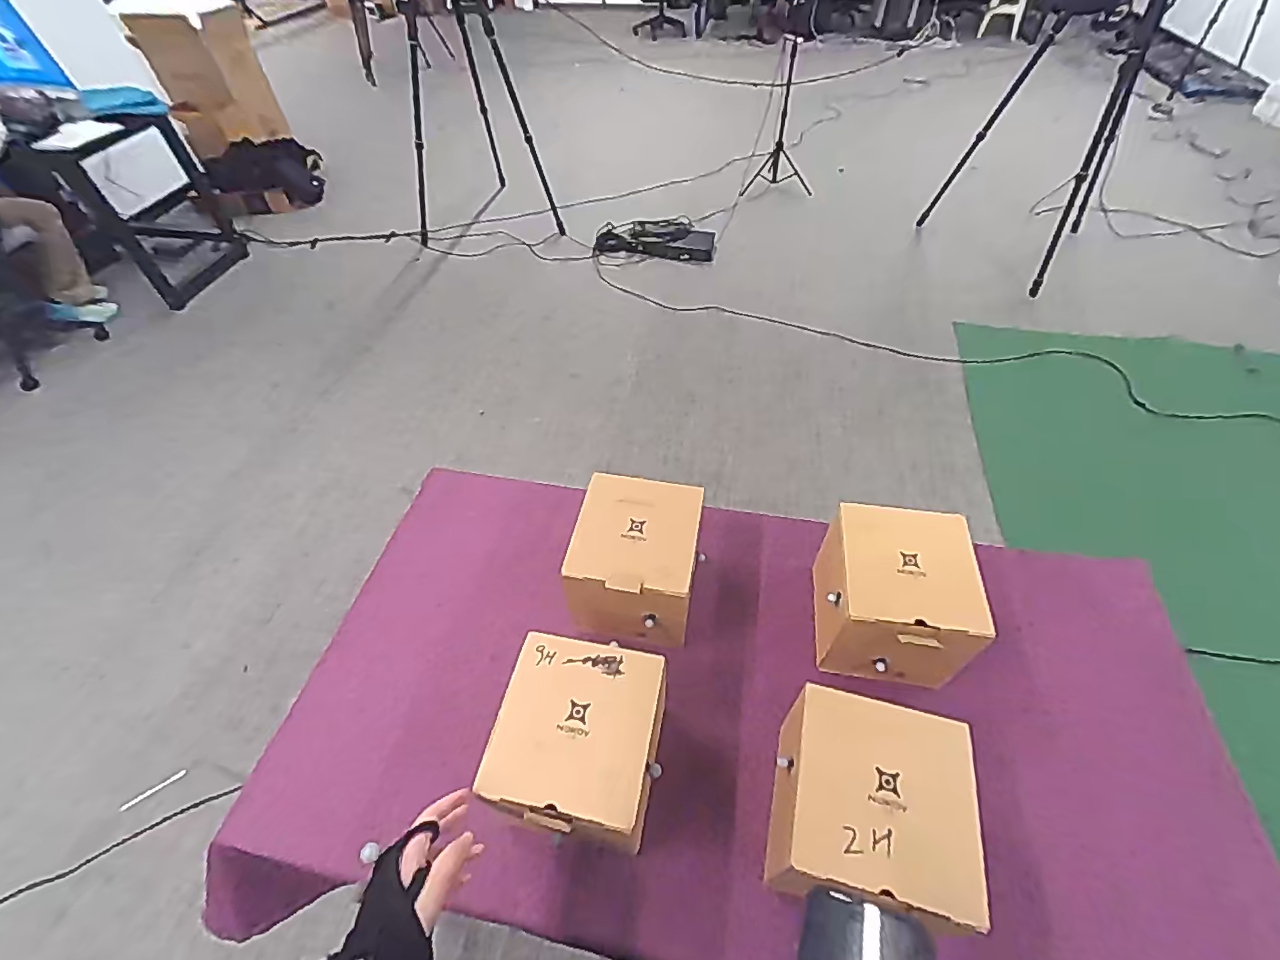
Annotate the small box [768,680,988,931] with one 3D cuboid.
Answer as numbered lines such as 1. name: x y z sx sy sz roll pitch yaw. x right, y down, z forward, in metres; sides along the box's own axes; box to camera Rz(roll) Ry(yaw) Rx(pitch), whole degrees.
1. small box: 0.239 0.348 0.580 0.168 0.176 0.179 11 51 12

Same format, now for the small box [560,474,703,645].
1. small box: -0.004 0.119 0.787 0.168 0.176 0.179 8 51 8

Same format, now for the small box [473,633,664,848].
1. small box: -0.065 0.306 0.630 0.168 0.176 0.179 8 51 9

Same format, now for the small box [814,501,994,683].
1. small box: 0.341 0.154 0.742 0.168 0.176 0.179 5 51 7
